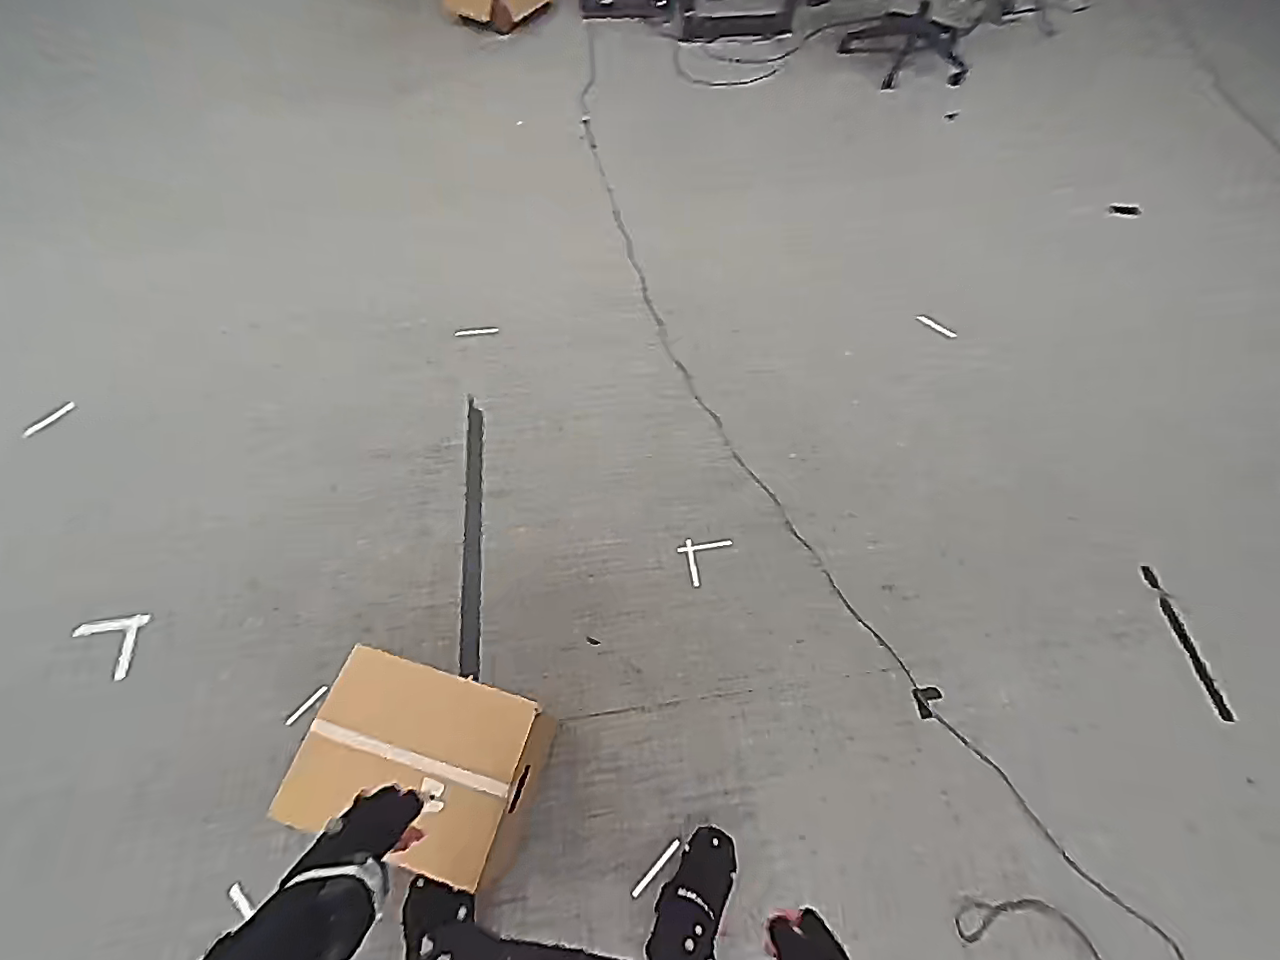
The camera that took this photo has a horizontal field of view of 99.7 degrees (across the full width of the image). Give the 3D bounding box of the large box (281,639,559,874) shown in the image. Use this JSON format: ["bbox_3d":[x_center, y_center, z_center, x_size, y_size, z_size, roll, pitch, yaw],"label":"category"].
[{"bbox_3d":[-0.424,0.572,1.151,0.408,0.320,0.320,16,64,6],"label":"large box"}]
